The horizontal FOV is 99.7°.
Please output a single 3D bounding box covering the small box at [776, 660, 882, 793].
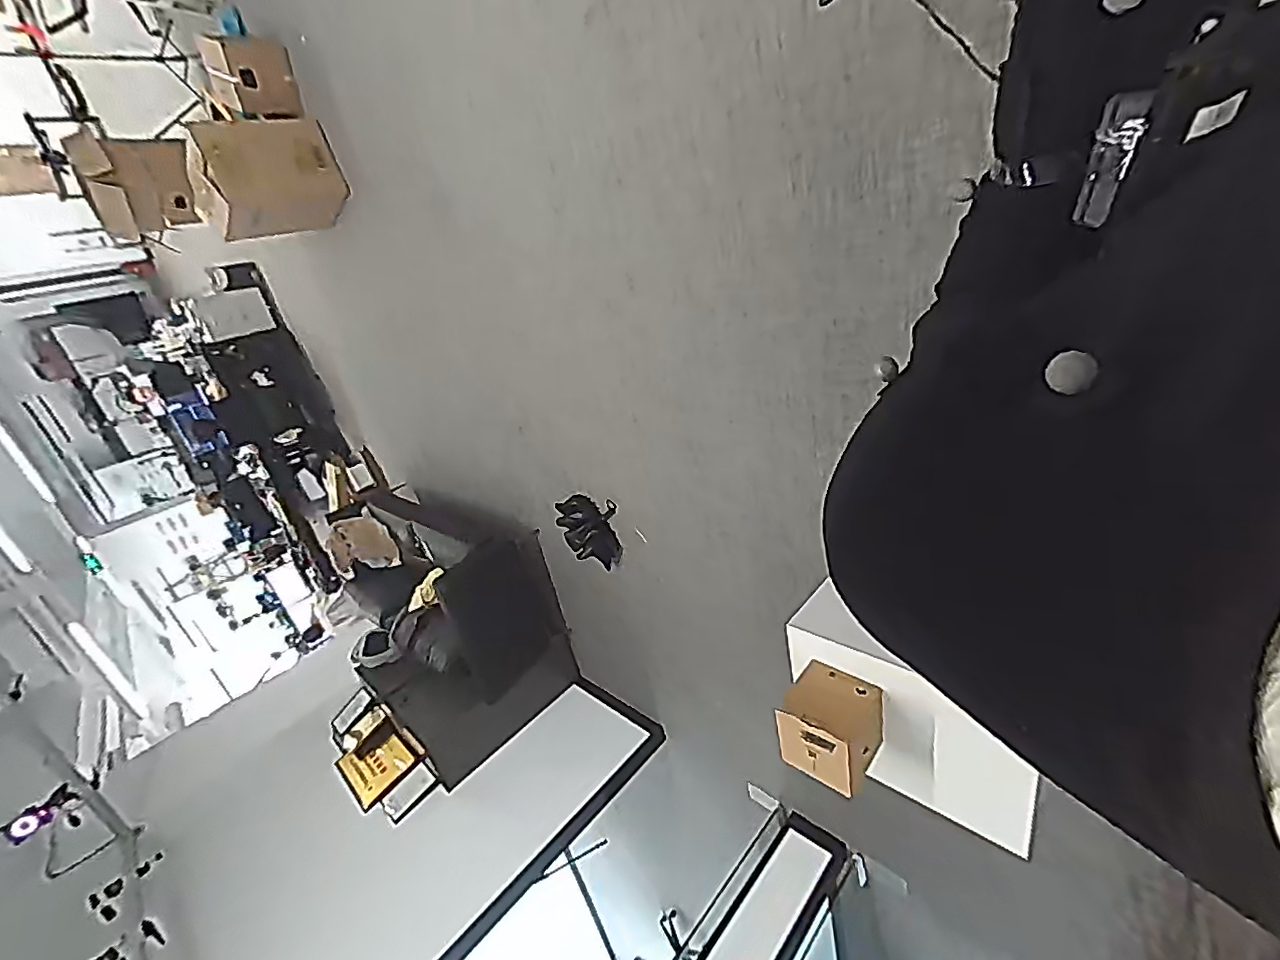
[{"bbox_3d":[0.424,0.535,1.201,0.168,0.176,0.179,13,125,44],"label":"small box"}]
